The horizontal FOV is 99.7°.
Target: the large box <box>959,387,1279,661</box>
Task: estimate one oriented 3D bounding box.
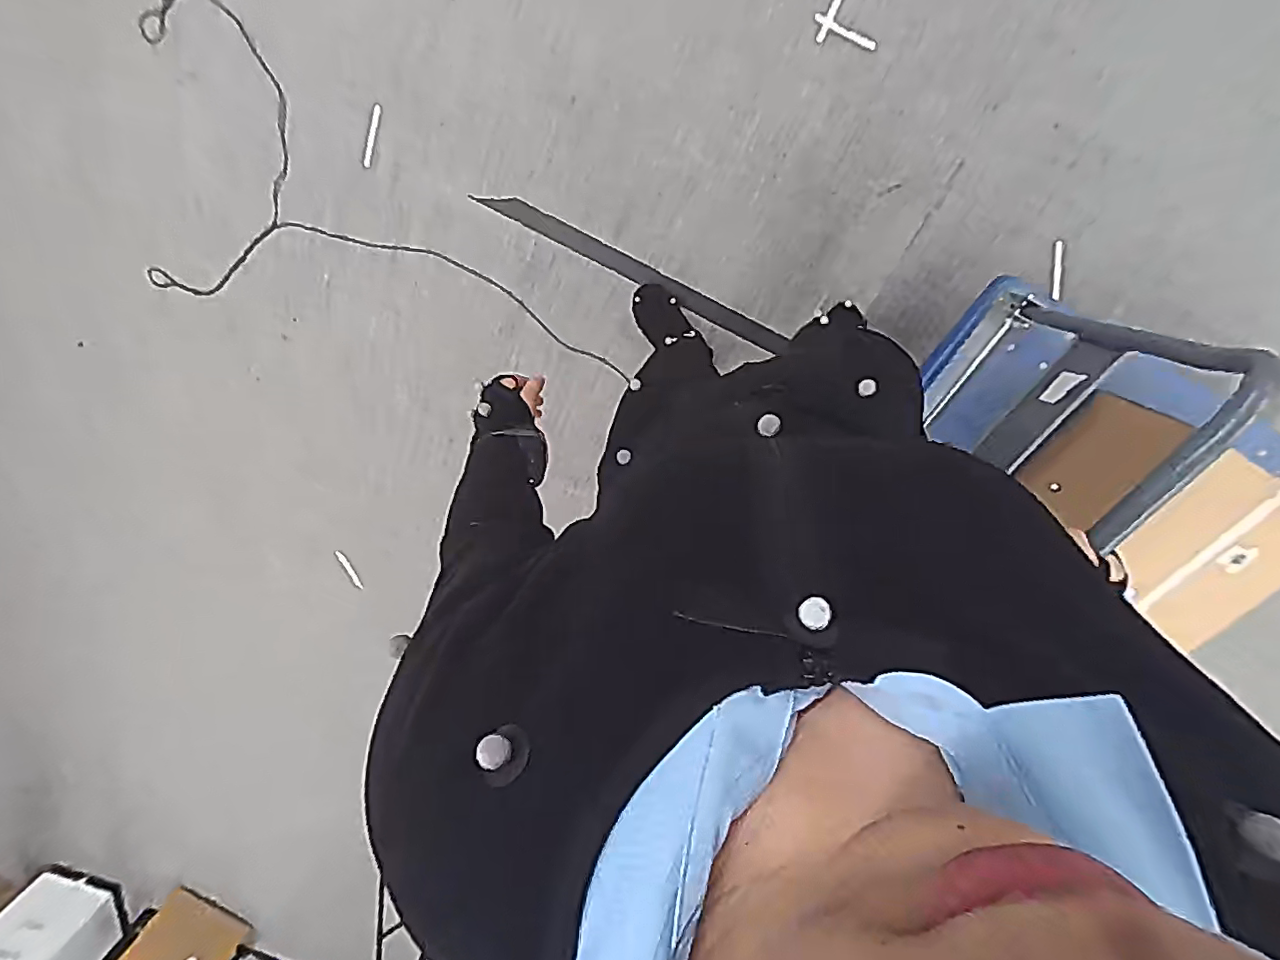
[{"bbox_3d":[0.975,0.078,1.124,0.320,0.320,0.408,29,114,-5],"label":"large box"}]
